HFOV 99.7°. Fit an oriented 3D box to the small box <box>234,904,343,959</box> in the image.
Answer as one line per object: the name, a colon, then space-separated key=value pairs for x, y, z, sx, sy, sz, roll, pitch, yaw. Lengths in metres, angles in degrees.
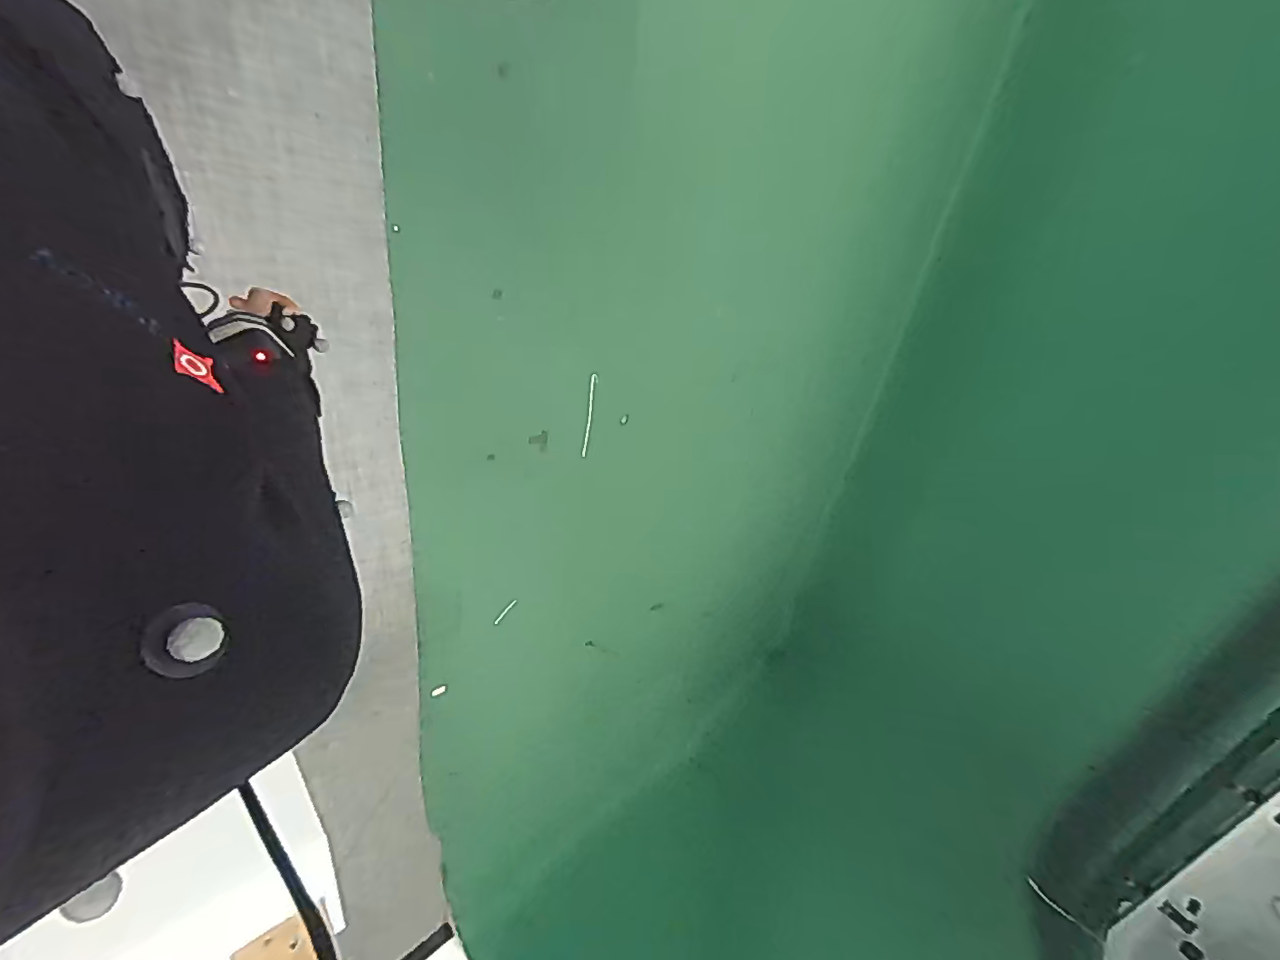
small box: x=-0.706 y=1.032 z=1.107 sx=0.168 sy=0.176 sz=0.179 roll=-17 pitch=127 yaw=-41
